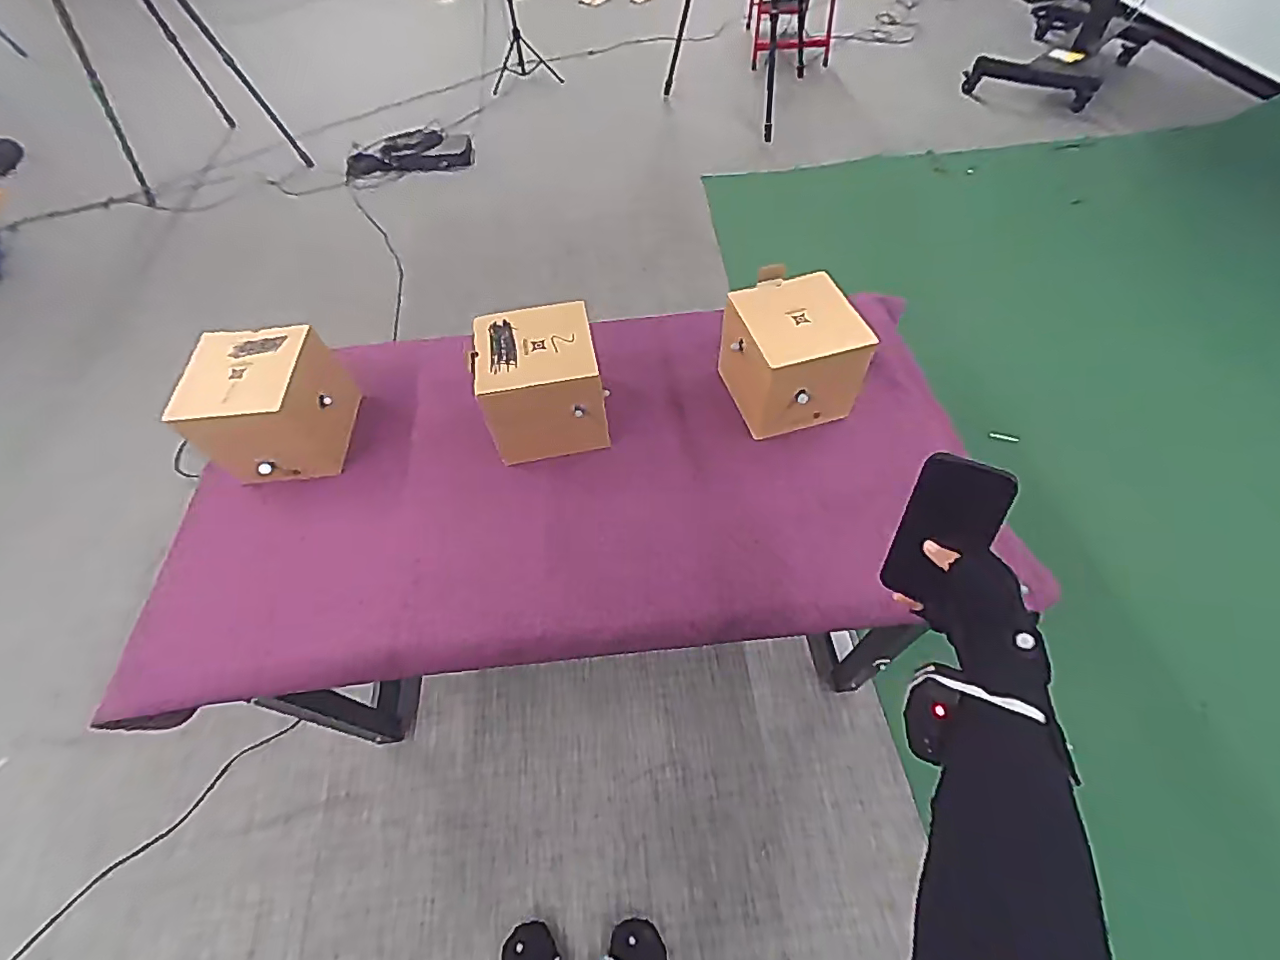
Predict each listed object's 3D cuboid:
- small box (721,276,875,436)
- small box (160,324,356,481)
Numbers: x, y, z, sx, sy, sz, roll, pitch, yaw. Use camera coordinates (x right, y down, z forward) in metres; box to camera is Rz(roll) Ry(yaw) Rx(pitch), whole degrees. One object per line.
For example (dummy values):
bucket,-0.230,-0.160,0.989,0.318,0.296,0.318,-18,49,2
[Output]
small box,0.237,-0.188,0.860,0.168,0.176,0.179,-15,56,-6
small box,-0.575,-0.118,0.846,0.168,0.176,0.179,-5,58,-1
